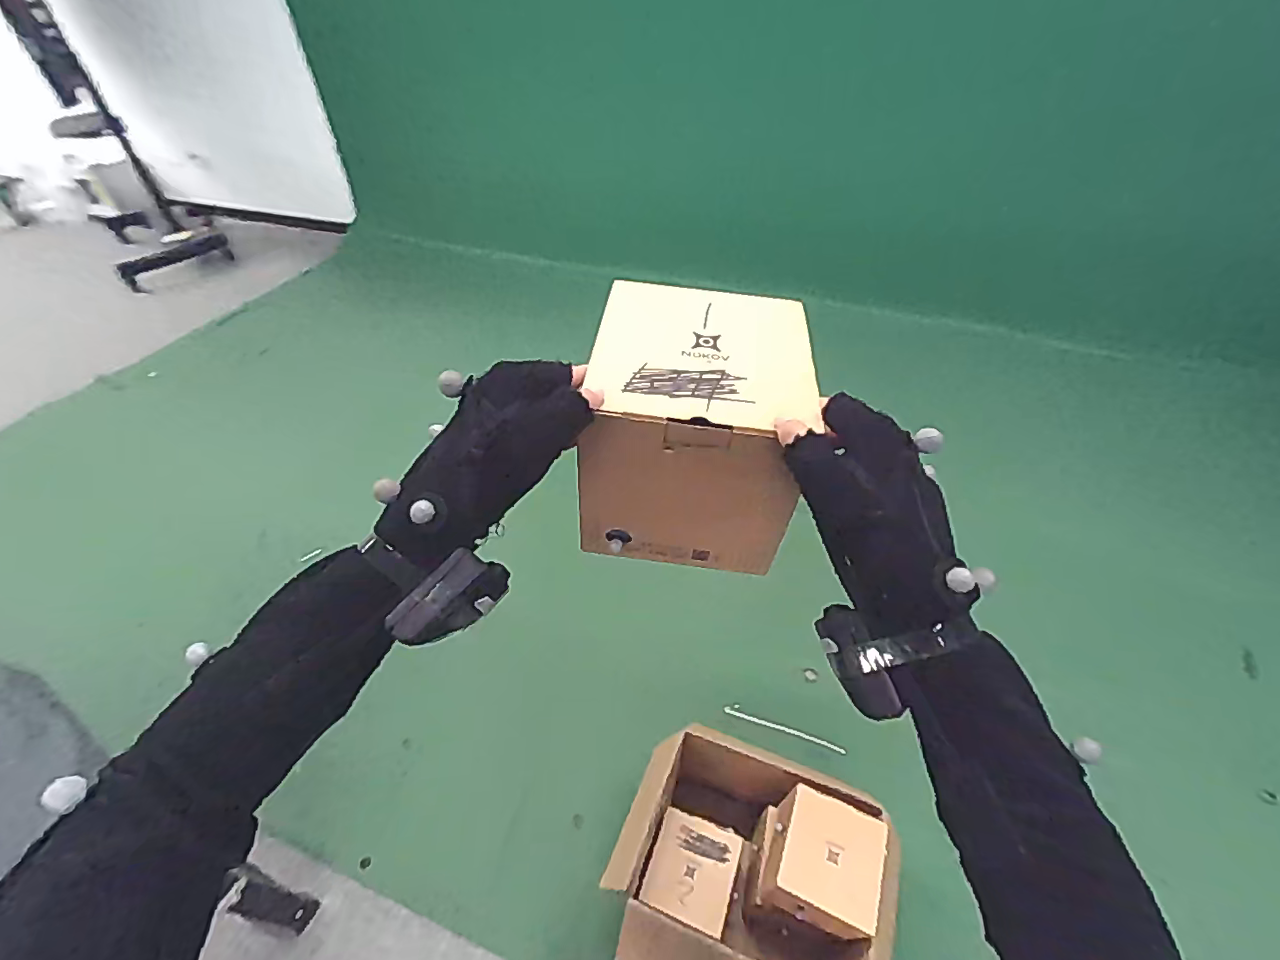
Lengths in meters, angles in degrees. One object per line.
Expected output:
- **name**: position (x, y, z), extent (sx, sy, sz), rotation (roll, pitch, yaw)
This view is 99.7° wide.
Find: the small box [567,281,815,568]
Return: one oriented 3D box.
- **small box**: position (0.038, -0.045, 0.464), extent (0.168, 0.176, 0.179), rotation (7, 47, 1)
